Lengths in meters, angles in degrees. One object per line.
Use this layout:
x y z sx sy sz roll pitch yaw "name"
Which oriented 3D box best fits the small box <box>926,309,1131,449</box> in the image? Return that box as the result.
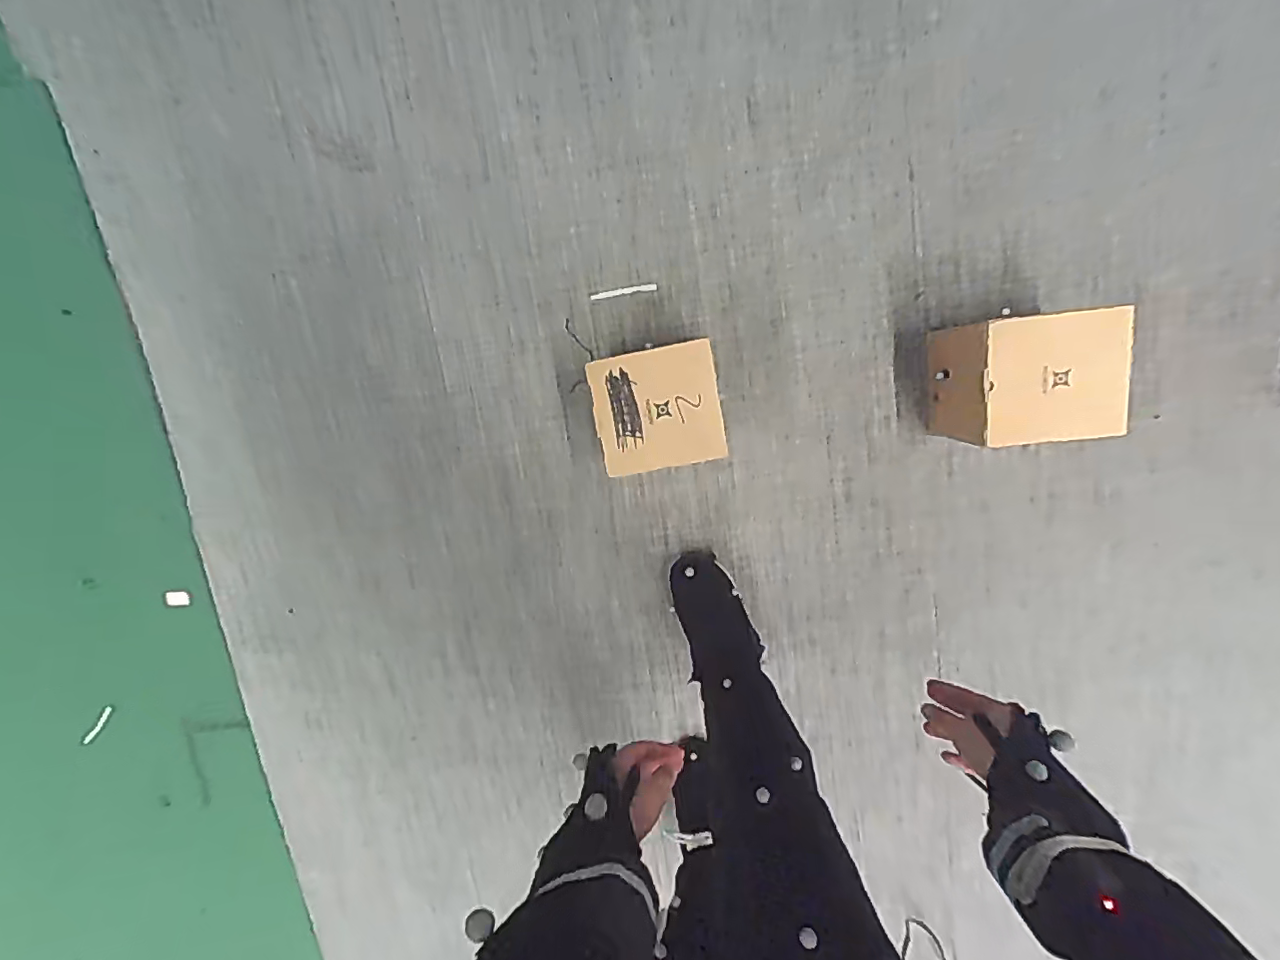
0.534 -0.144 0.768 0.179 0.176 0.168 -5 101 6 "small box"
